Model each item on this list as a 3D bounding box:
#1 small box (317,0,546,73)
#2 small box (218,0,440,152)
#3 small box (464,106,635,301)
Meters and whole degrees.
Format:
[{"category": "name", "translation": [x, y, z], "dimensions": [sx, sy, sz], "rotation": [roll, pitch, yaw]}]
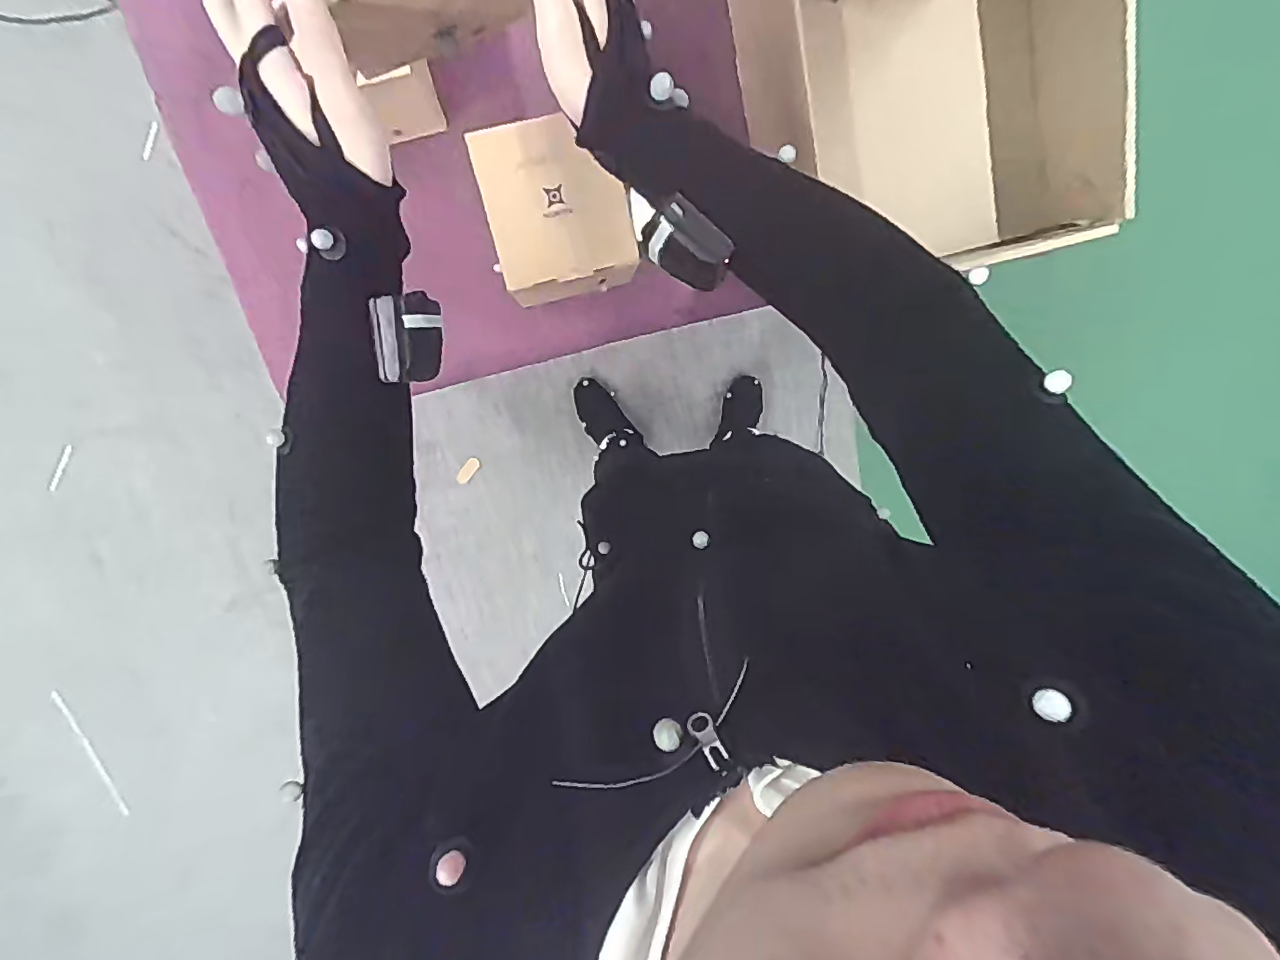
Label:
[{"category": "small box", "translation": [-0.160, -0.406, 0.345], "dimensions": [0.168, 0.176, 0.179], "rotation": [-23, 118, -3]}, {"category": "small box", "translation": [-0.356, -0.515, 0.636], "dimensions": [0.168, 0.176, 0.179], "rotation": [-16, 103, -2]}, {"category": "small box", "translation": [-0.108, -0.339, 0.702], "dimensions": [0.168, 0.176, 0.179], "rotation": [-14, 102, -4]}]
